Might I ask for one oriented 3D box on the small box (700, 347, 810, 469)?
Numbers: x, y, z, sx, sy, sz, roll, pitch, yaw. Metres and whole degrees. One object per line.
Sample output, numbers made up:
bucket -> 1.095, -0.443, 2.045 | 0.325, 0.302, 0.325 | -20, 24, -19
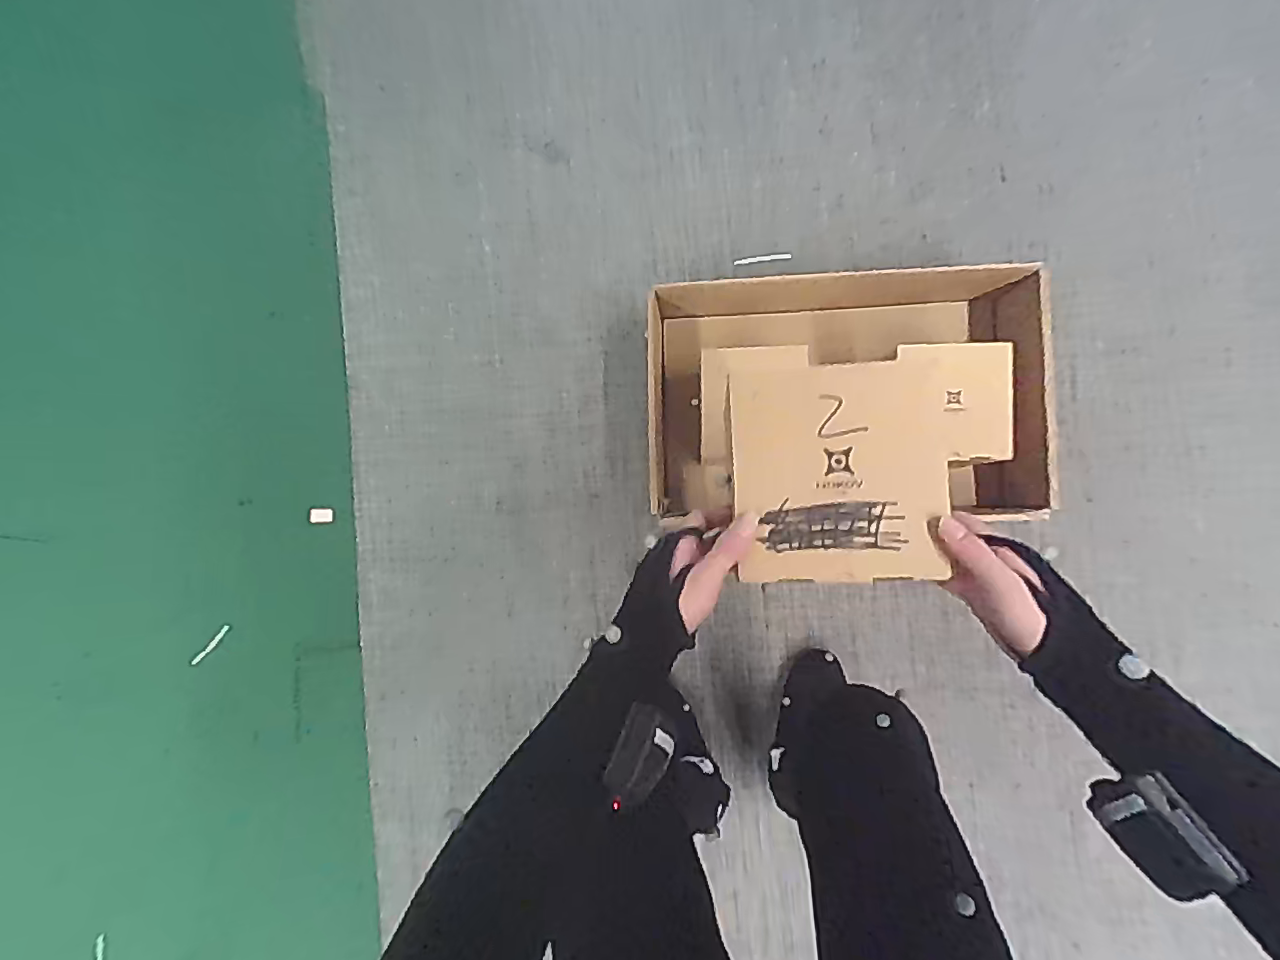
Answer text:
small box -> 0.185, -0.112, 0.911 | 0.168, 0.176, 0.179 | -1, 87, 6
